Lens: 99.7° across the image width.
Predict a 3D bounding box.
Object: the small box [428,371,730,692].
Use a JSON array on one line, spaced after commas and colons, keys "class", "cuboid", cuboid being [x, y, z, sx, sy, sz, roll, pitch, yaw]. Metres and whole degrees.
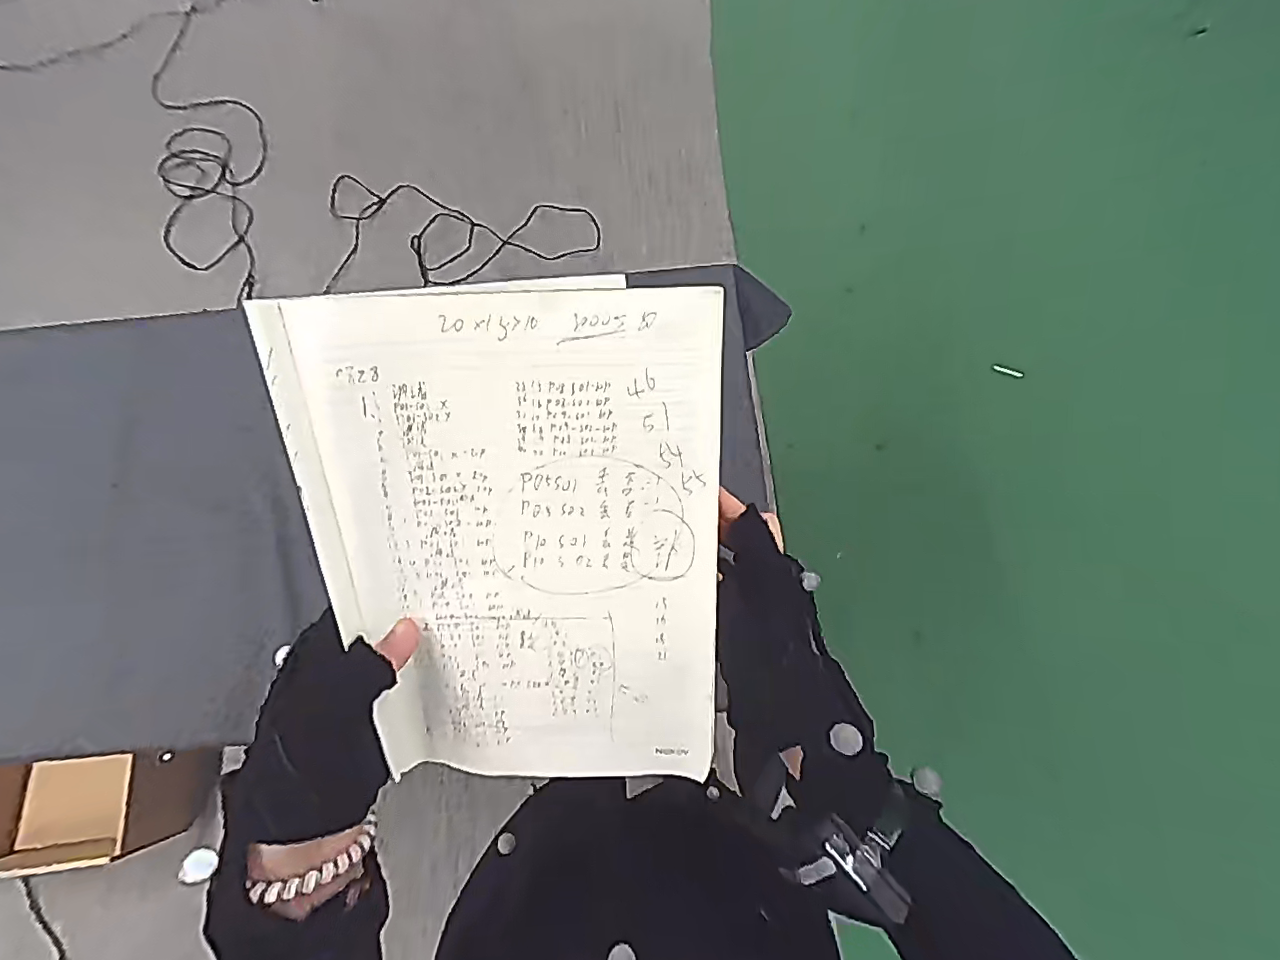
[{"class": "small box", "cuboid": [-0.038, 0.040, 0.410, 0.168, 0.176, 0.179, -11, 82, 1]}]
